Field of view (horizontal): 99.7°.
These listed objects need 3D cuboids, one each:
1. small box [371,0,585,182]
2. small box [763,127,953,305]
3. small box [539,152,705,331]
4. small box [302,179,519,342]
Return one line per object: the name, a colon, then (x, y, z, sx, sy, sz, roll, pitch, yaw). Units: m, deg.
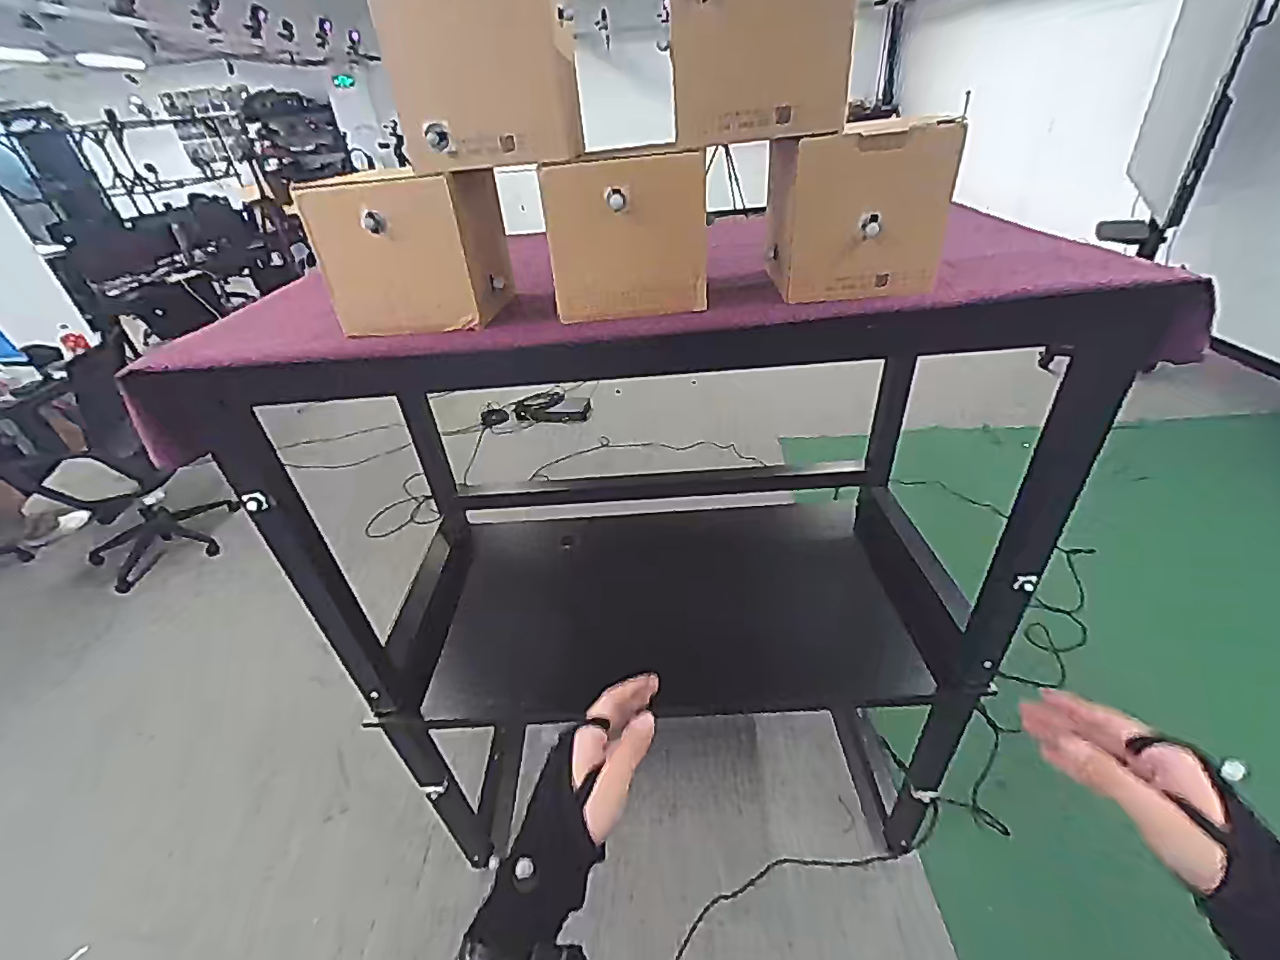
small box: (-0.158, -0.432, 0.600, 0.168, 0.176, 0.179, -3, 32, 3)
small box: (0.246, -0.318, 0.659, 0.168, 0.176, 0.179, -3, 34, 5)
small box: (-0.014, -0.297, 0.672, 0.179, 0.176, 0.168, -5, 33, 2)
small box: (-0.270, -0.281, 0.686, 0.179, 0.176, 0.168, -1, 34, 6)
